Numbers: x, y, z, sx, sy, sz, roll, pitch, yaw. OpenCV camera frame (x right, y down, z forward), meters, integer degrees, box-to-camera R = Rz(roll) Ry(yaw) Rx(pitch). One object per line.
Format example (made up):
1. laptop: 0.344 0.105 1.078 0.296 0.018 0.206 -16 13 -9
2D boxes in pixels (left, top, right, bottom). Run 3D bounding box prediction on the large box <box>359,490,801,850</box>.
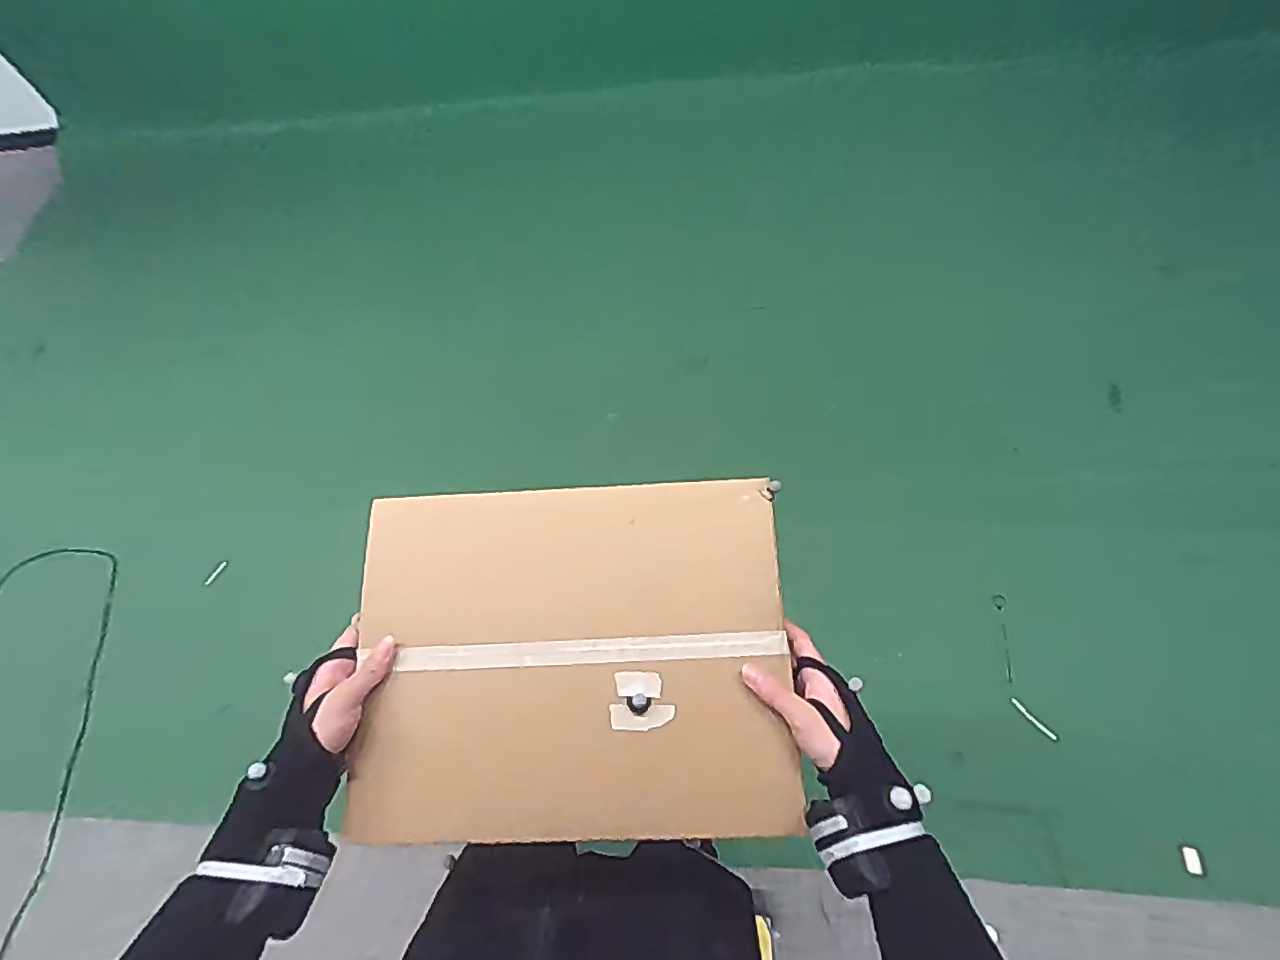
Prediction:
1. large box: -0.058 0.211 0.660 0.408 0.320 0.320 -3 75 2
